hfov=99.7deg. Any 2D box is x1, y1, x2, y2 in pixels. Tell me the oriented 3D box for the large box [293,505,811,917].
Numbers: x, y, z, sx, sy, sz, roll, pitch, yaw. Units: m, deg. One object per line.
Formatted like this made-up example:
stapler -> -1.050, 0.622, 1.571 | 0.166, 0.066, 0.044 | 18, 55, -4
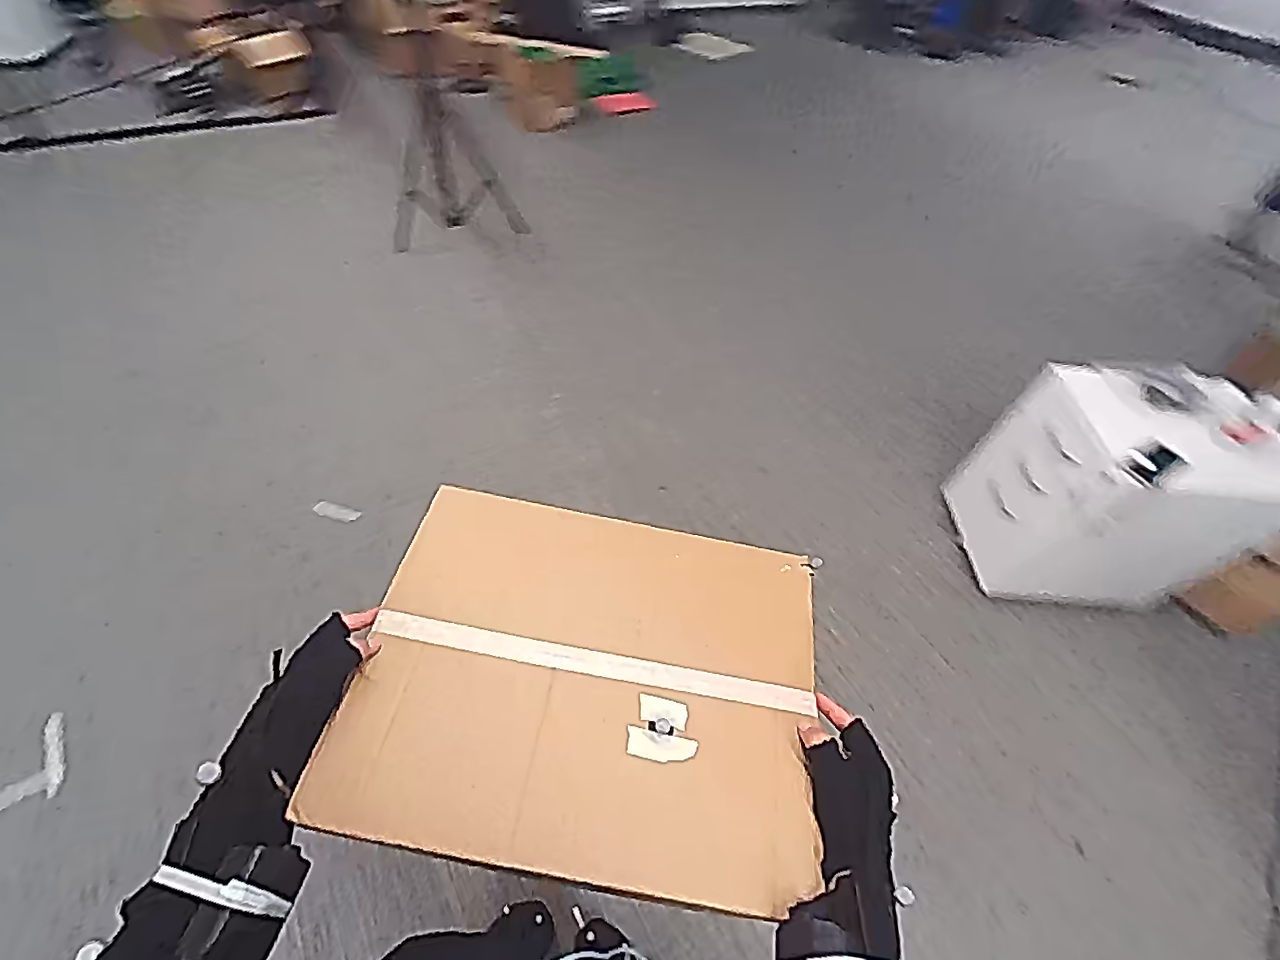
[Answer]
large box -> -0.067, 0.266, 0.612 | 0.408, 0.320, 0.320 | 11, 54, -2
